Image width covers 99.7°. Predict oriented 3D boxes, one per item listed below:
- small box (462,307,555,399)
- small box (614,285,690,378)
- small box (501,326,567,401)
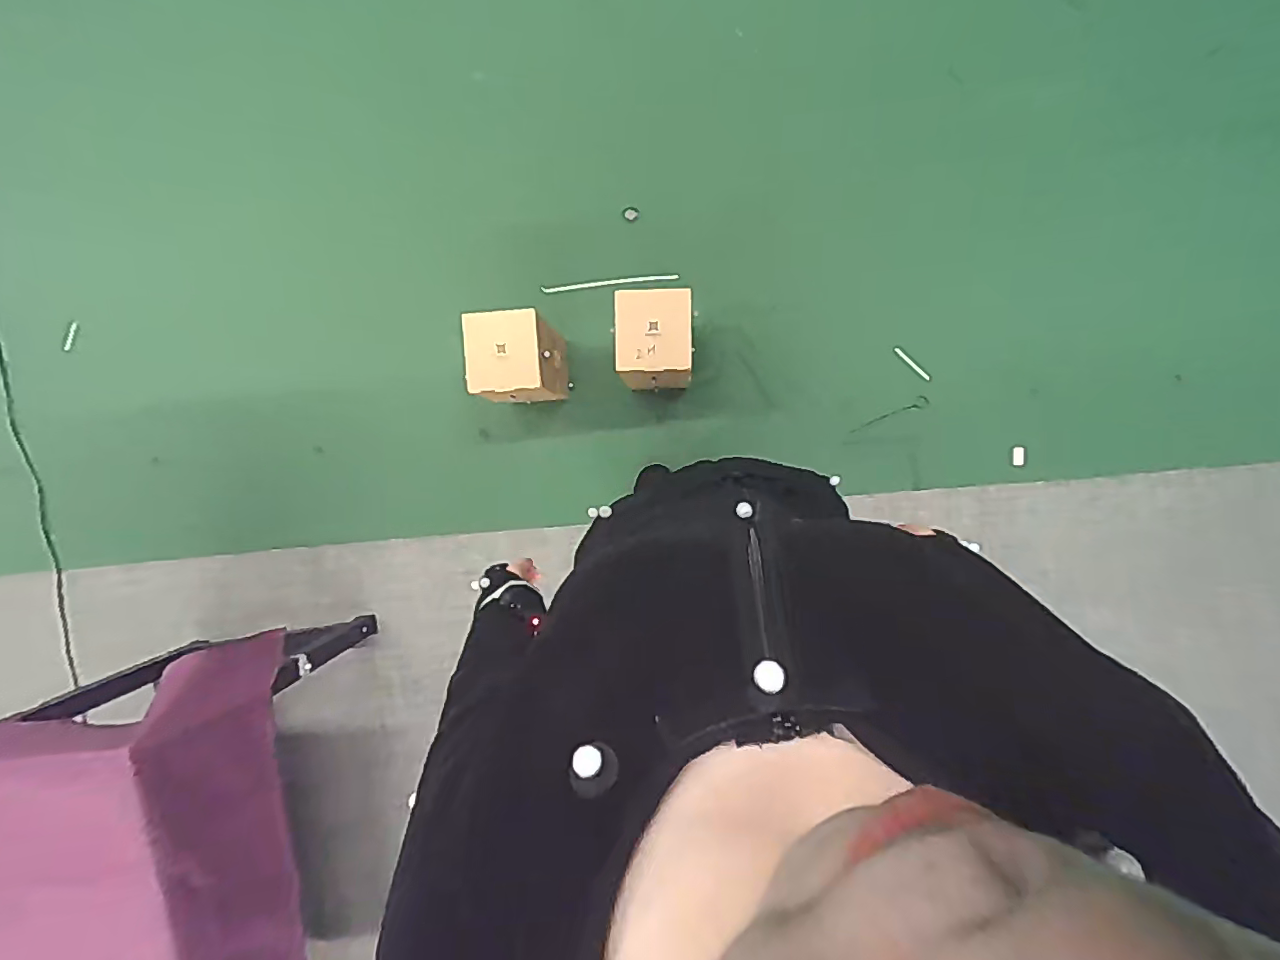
[{"bbox_3d":[-0.300,-0.290,1.260,0.168,0.176,0.179,-4,93,4],"label":"small box"},{"bbox_3d":[0.029,-0.332,1.235,0.168,0.176,0.179,0,94,4],"label":"small box"},{"bbox_3d":[-0.292,-0.302,1.422,0.179,0.176,0.168,-4,93,5],"label":"small box"}]
